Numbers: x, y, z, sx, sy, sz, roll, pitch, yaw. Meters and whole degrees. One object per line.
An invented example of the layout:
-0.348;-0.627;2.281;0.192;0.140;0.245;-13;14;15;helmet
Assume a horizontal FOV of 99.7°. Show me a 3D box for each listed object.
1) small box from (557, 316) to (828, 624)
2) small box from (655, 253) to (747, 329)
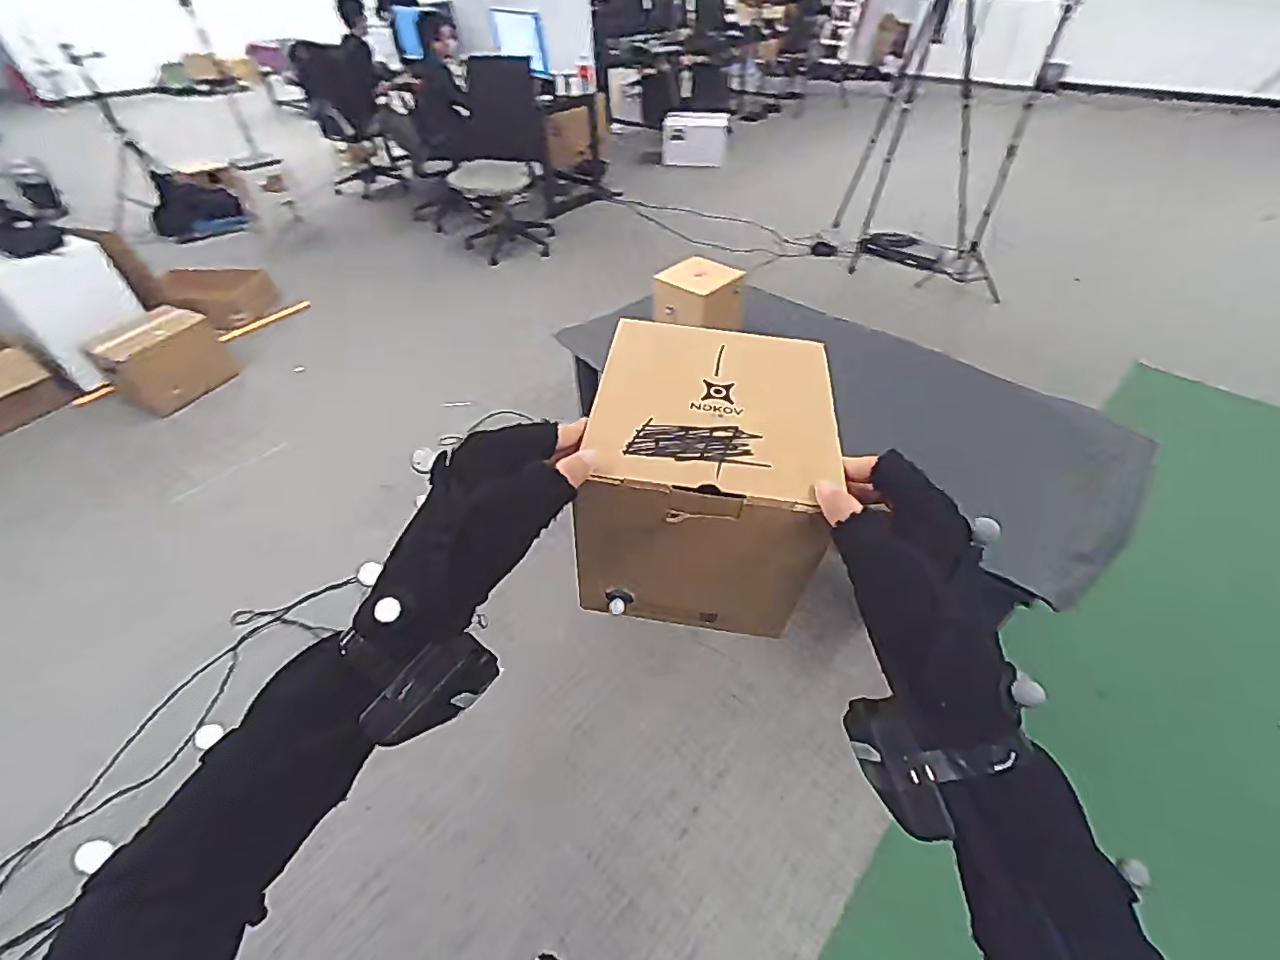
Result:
0.039;-0.005;0.433;0.168;0.176;0.179;8;48;3;small box
0.159;-0.468;1.420;0.168;0.176;0.179;33;54;30;small box
